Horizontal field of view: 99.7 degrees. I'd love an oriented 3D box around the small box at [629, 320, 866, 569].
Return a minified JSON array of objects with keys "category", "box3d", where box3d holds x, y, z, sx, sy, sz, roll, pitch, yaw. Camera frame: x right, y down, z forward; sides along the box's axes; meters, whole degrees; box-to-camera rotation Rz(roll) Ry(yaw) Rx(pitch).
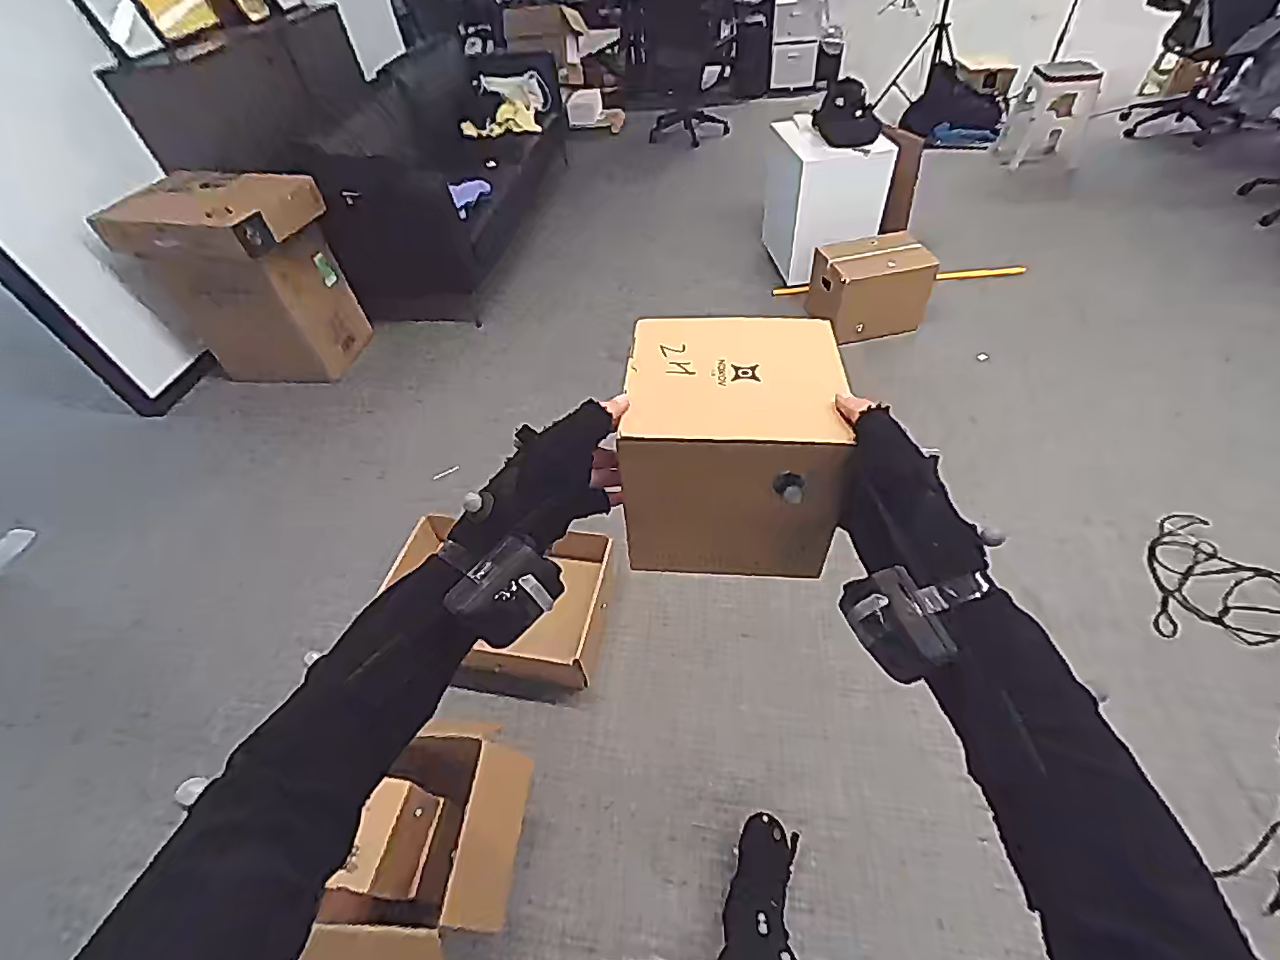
[{"category":"small box","box3d":[0.088,-0.031,0.508,0.179,0.176,0.168,2,46,5]}]
